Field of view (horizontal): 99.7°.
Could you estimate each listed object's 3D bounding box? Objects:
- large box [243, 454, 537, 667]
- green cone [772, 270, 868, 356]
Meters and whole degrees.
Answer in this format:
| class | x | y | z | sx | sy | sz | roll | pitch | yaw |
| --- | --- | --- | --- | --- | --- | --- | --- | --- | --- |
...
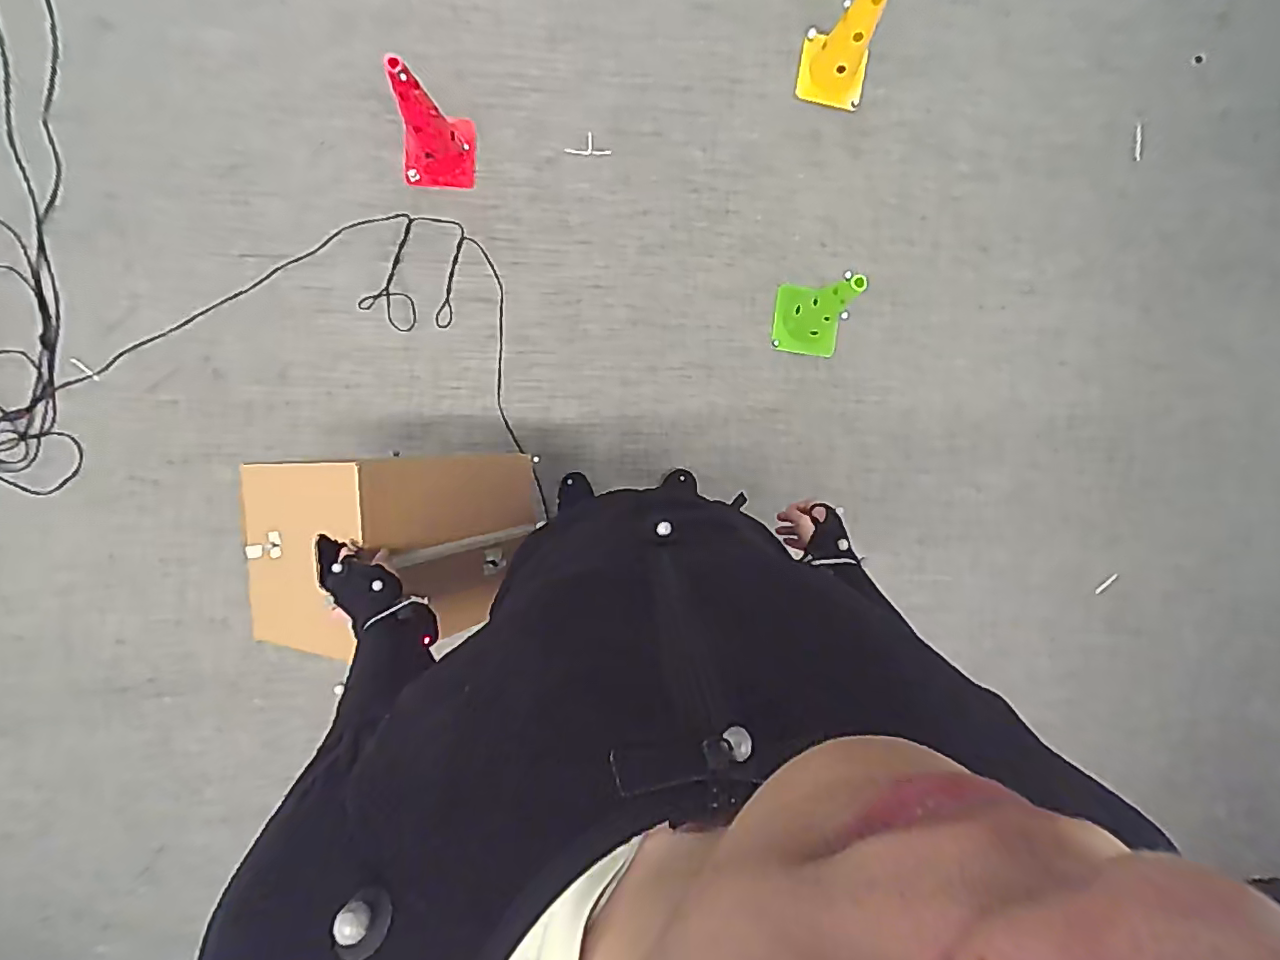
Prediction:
| class | x | y | z | sx | sy | sz | roll | pitch | yaw |
| --- | --- | --- | --- | --- | --- | --- | --- | --- | --- |
| large box | -0.450 | 0.118 | 1.039 | 0.320 | 0.408 | 0.320 | 0 | 95 | 26 |
| green cone | 0.523 | -0.485 | 1.486 | 0.200 | 0.368 | 0.202 | 6 | 90 | -5 |
